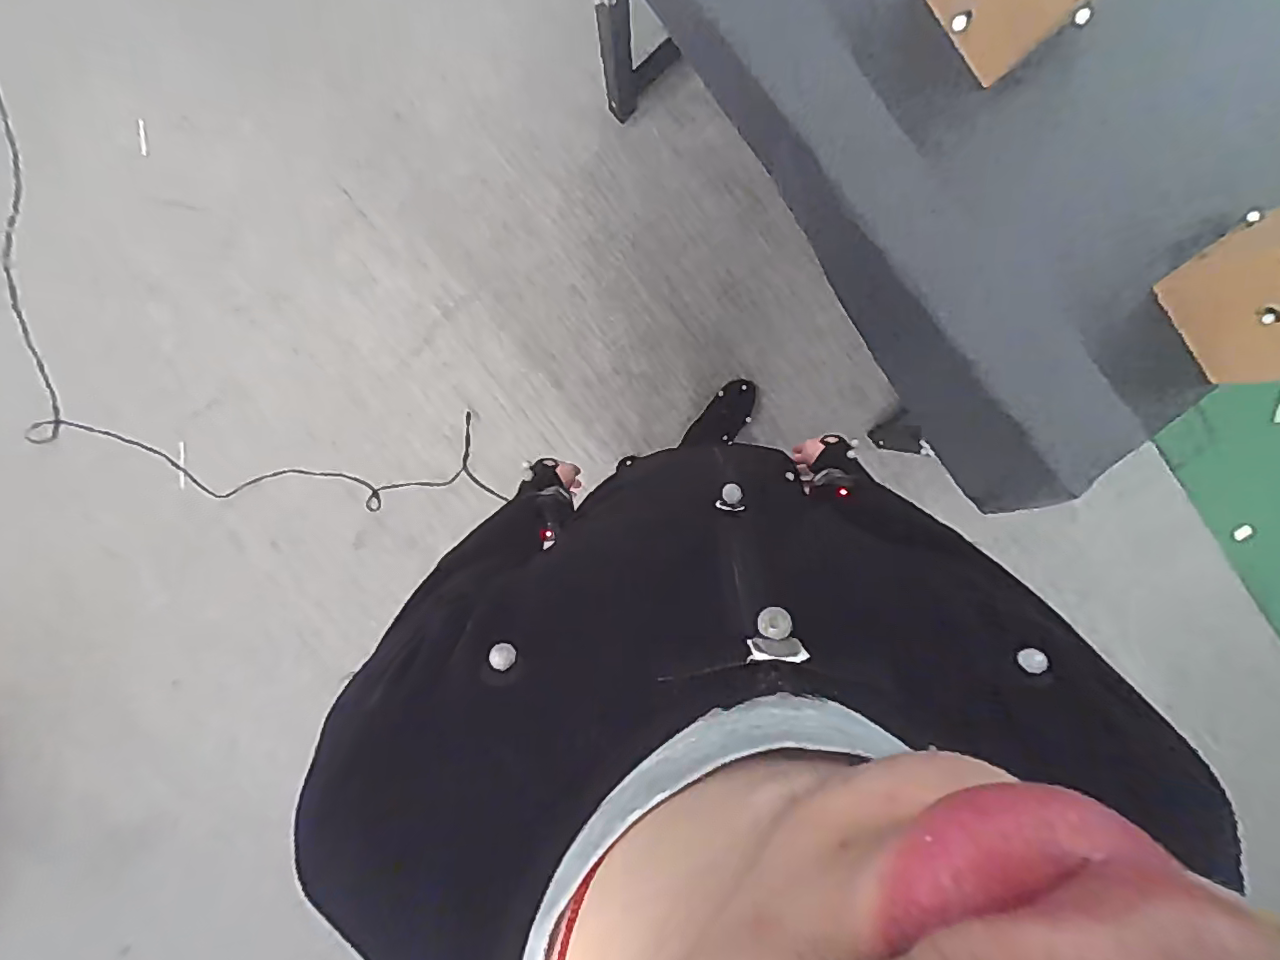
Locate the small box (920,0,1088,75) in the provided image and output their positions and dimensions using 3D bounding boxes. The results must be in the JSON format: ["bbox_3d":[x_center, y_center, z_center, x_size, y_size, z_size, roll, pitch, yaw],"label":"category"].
[{"bbox_3d":[0.480,-0.644,0.655,0.168,0.176,0.179,-39,97,3],"label":"small box"}]

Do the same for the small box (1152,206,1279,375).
[{"bbox_3d":[0.848,-0.254,0.710,0.168,0.176,0.179,-38,97,3],"label":"small box"}]
